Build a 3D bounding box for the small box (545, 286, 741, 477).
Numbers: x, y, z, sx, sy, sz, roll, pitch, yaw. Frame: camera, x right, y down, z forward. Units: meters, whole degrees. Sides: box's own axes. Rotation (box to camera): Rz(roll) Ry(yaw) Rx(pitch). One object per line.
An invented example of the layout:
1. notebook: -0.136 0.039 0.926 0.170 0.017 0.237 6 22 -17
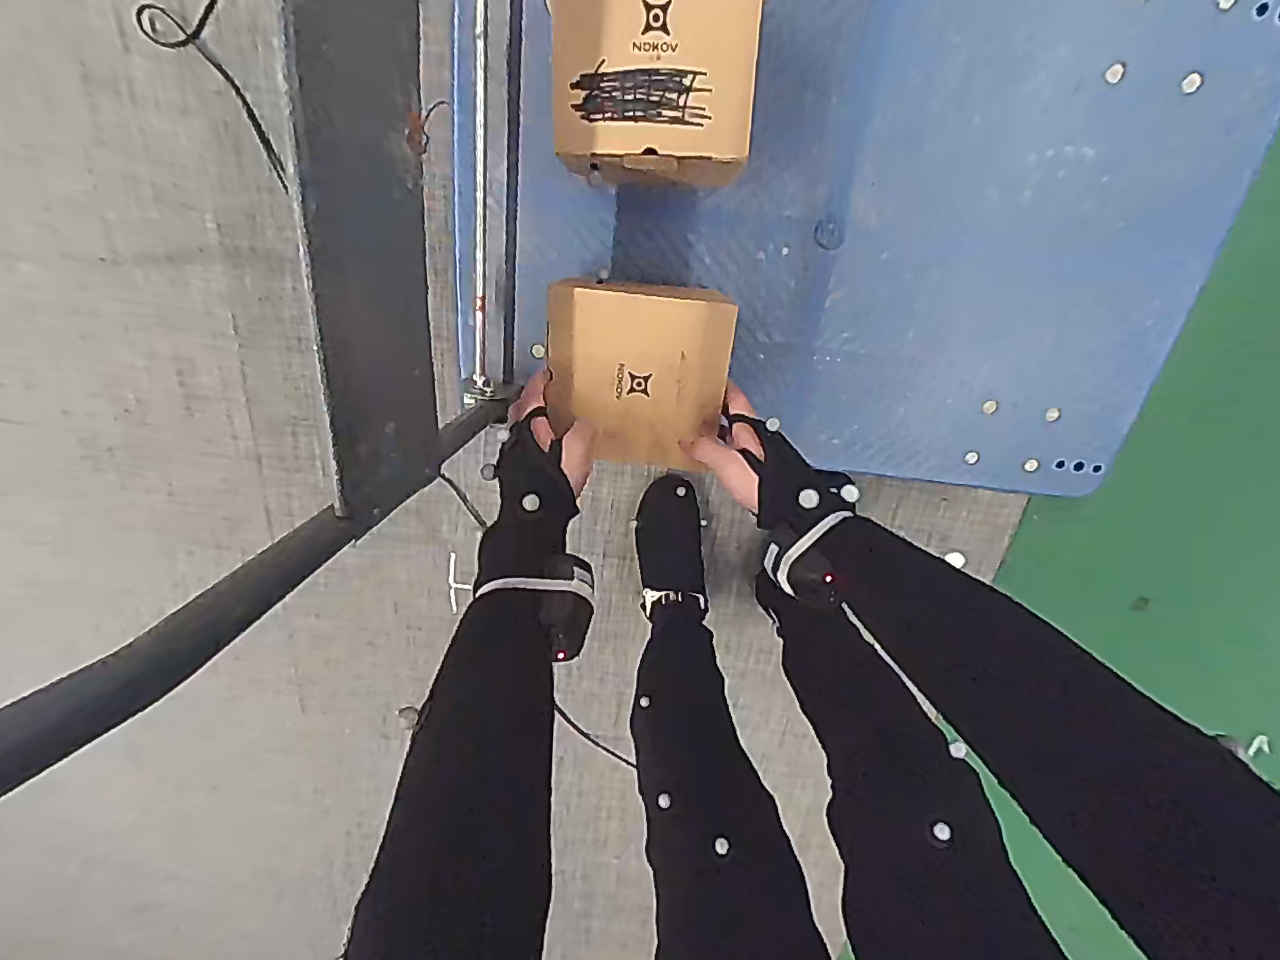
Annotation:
1. small box: 0.000 -0.117 0.595 0.179 0.176 0.168 6 113 -1
